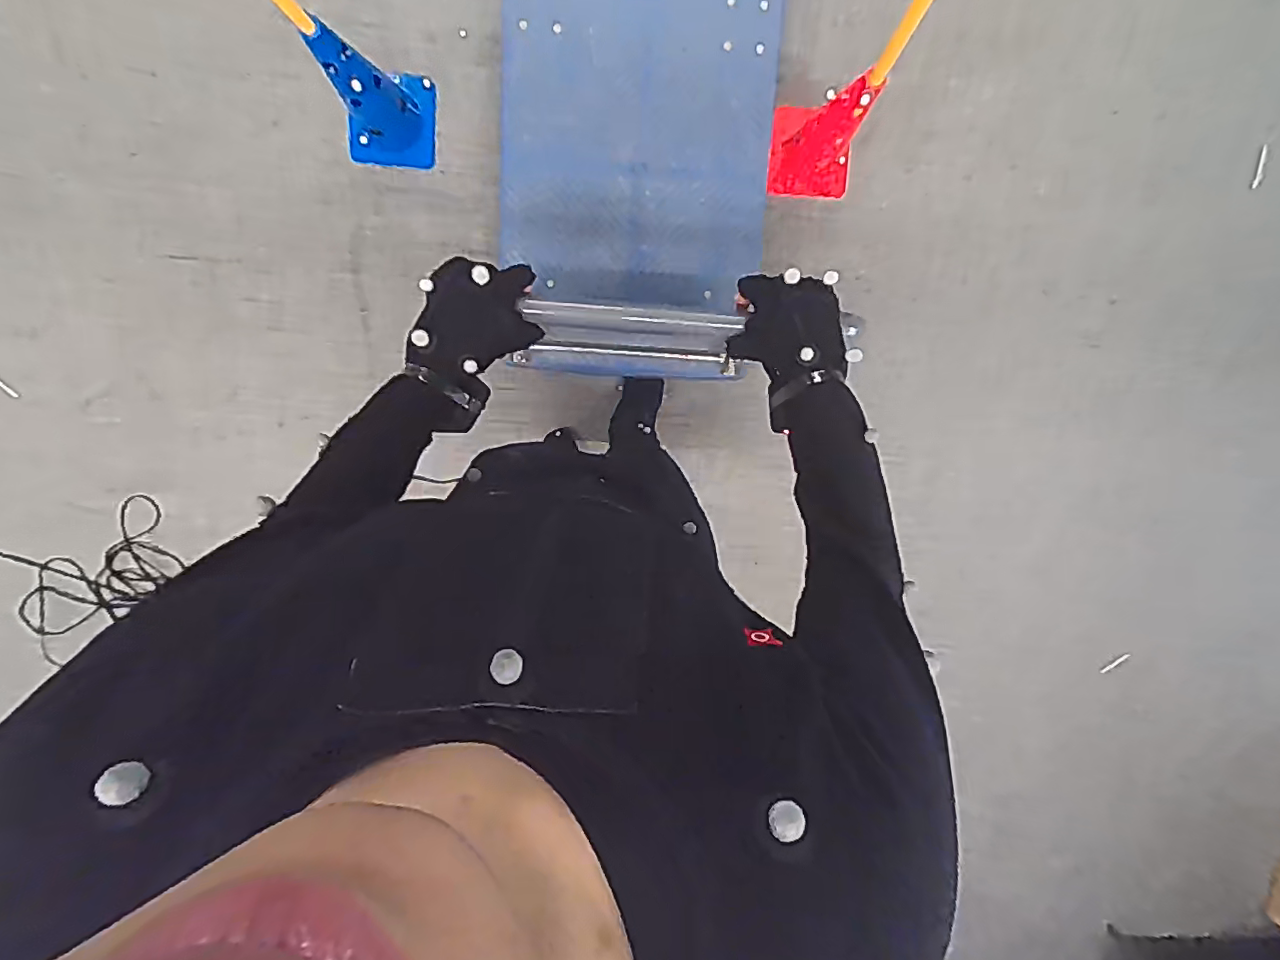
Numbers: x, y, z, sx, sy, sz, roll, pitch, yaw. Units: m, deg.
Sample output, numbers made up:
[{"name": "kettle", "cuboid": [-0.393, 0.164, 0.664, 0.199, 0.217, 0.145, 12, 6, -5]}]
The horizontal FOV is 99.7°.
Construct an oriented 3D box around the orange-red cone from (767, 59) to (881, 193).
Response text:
[{"name": "orange-red cone", "cuboid": [0.422, -0.791, 1.172, 0.199, 0.360, 0.198, 4, 101, -2]}]
